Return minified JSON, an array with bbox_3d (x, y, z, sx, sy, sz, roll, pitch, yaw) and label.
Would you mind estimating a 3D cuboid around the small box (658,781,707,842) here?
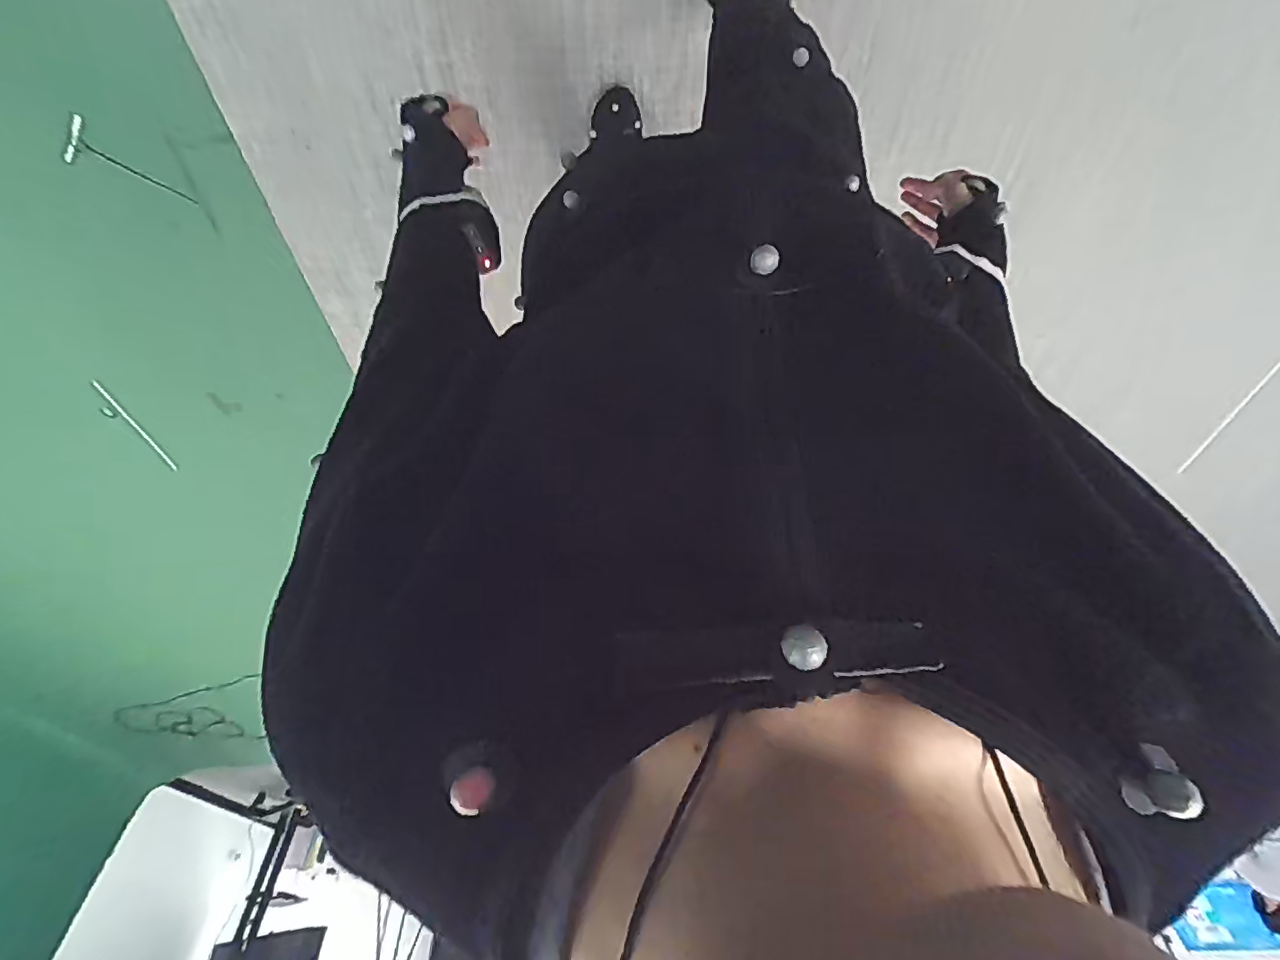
[{"bbox_3d":[0.156,1.257,2.055,0.168,0.176,0.179,-1,136,-1],"label":"small box"}]
